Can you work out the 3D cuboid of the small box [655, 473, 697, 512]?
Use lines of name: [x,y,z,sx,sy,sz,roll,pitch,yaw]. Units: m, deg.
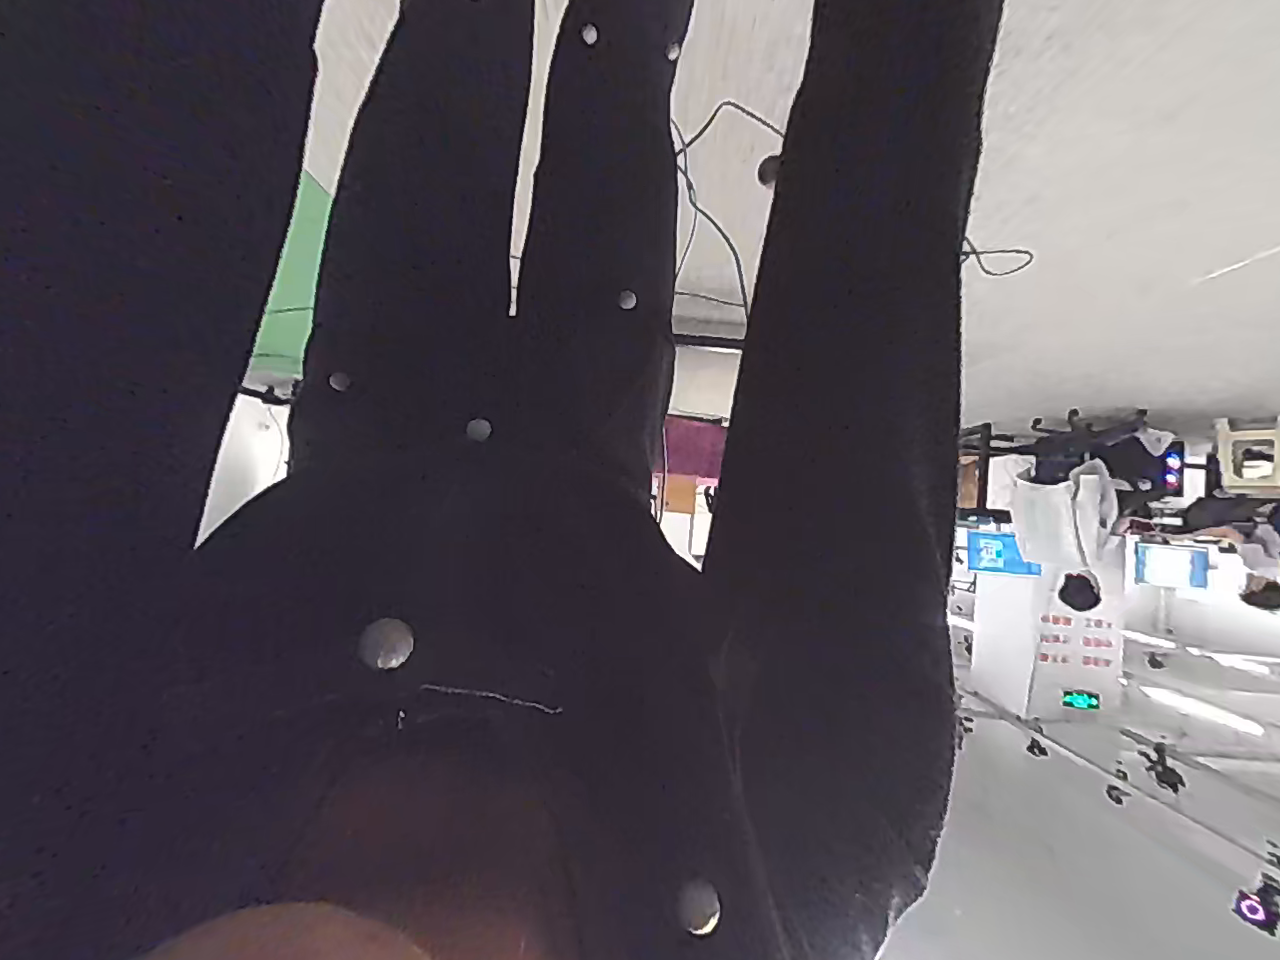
small box: [0.171,0.058,2.577,0.179,0.176,0.168,6,178,-2]
